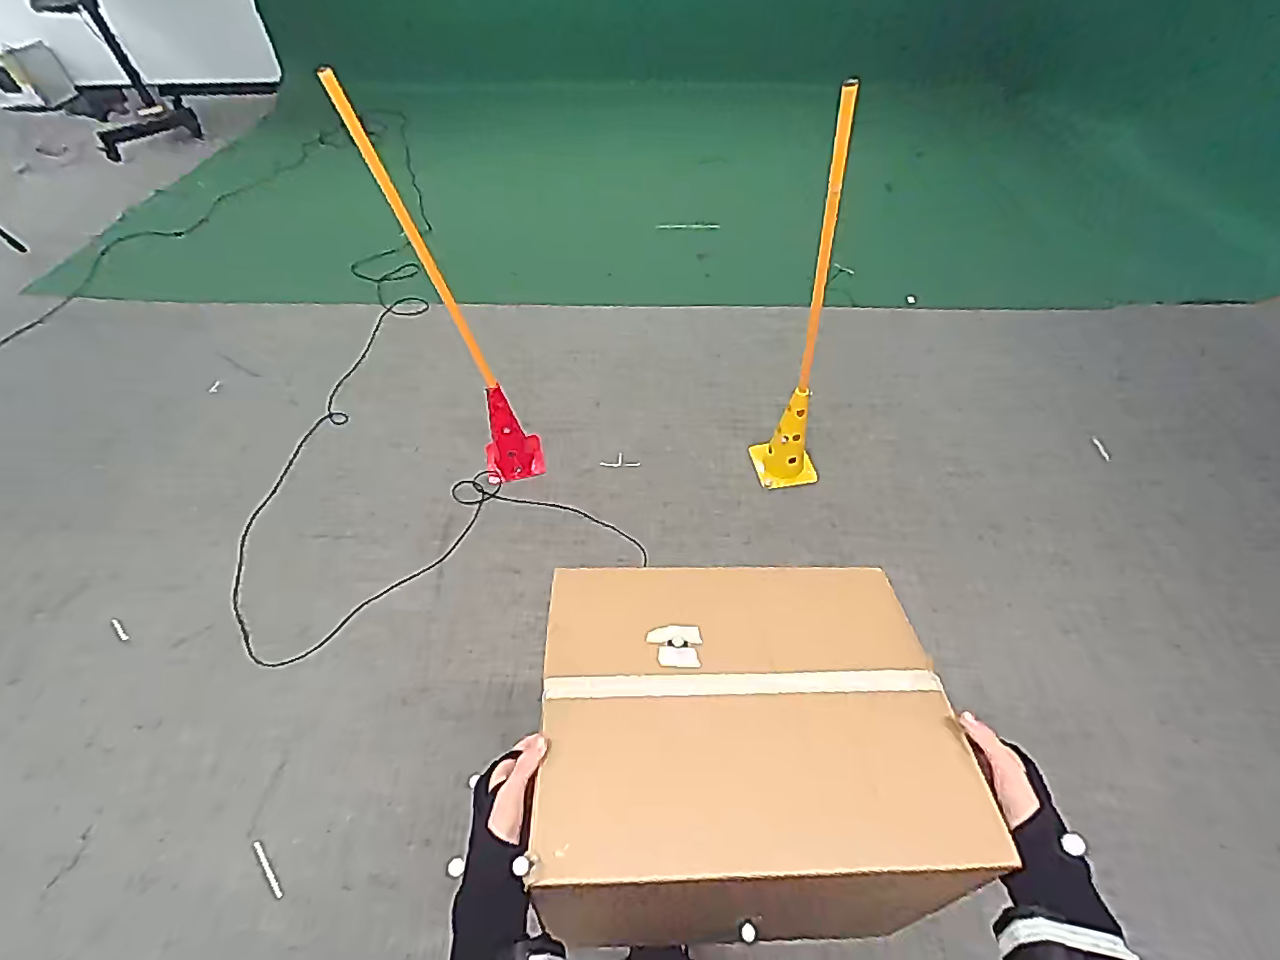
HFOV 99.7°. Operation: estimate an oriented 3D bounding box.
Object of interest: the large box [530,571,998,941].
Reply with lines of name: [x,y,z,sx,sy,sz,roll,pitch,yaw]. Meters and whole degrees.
large box: [0.100,0.330,0.655,0.408,0.320,0.320,0,41,-3]
